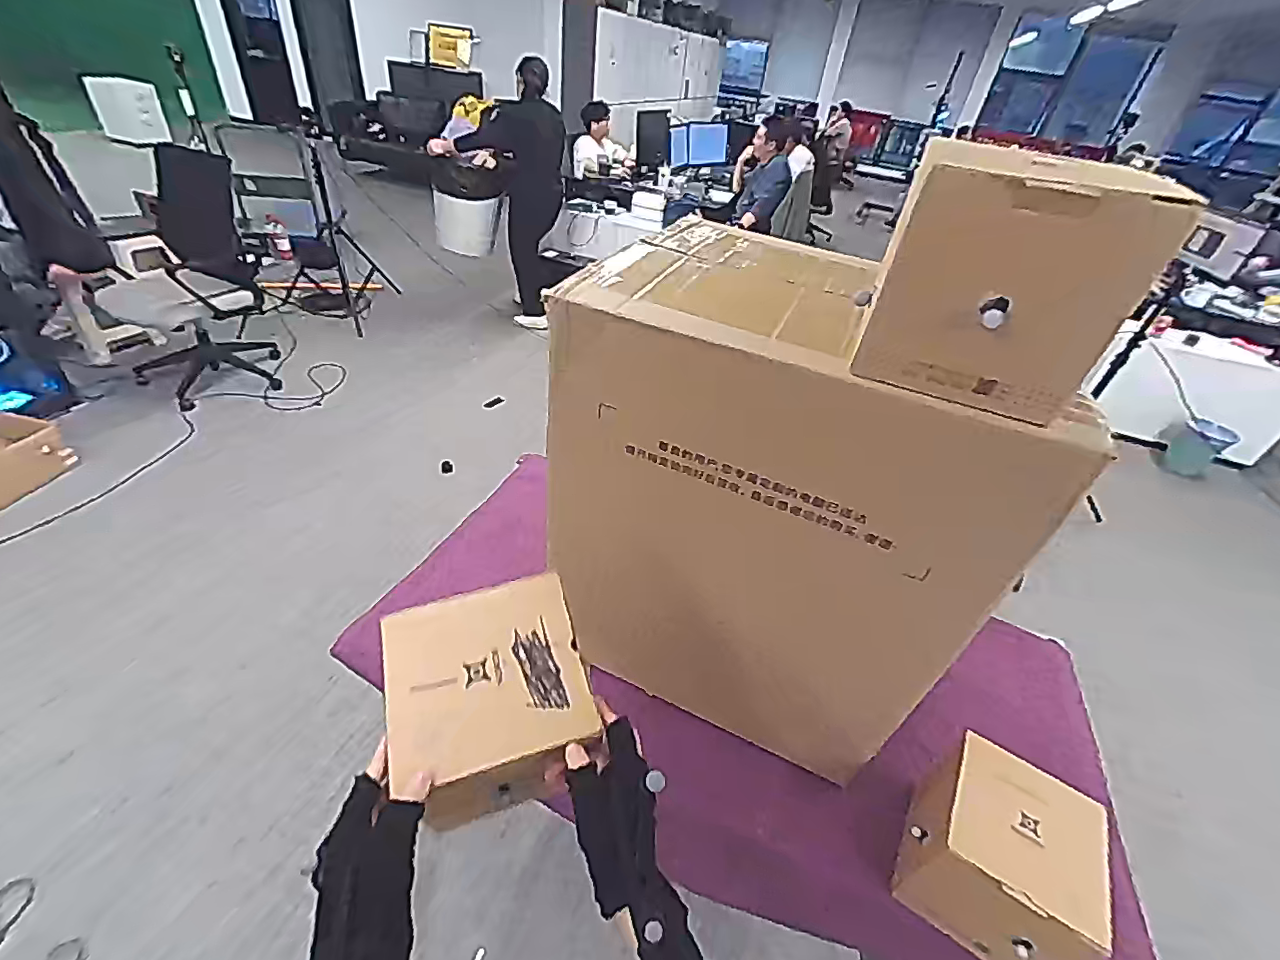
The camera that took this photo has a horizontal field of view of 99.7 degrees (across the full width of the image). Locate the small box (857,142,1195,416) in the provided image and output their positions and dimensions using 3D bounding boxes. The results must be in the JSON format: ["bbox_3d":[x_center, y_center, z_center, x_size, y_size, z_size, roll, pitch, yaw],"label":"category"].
[{"bbox_3d":[0.303,-0.178,0.472,0.168,0.176,0.179,19,41,14],"label":"small box"}]

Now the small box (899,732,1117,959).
[{"bbox_3d":[0.452,0.473,0.685,0.168,0.176,0.179,27,40,21],"label":"small box"}]
